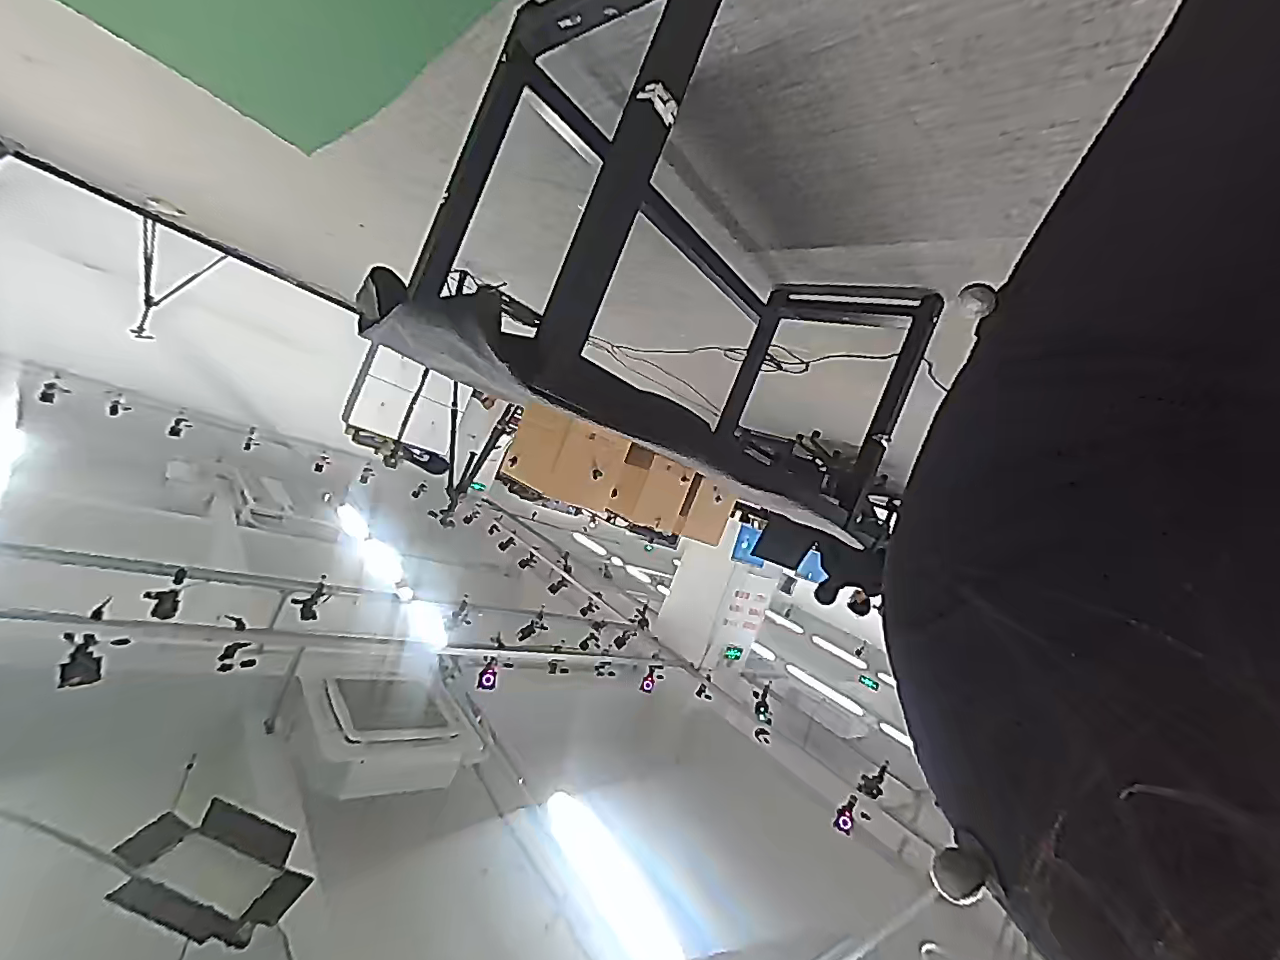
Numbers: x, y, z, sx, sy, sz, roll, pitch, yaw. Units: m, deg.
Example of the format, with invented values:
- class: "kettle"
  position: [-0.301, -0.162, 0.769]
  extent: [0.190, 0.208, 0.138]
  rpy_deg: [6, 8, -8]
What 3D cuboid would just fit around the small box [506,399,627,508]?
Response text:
- class: "small box"
  position: [-0.147, -0.059, 1.132]
  extent: [0.168, 0.176, 0.179]
  rpy_deg: [20, -178, -45]
